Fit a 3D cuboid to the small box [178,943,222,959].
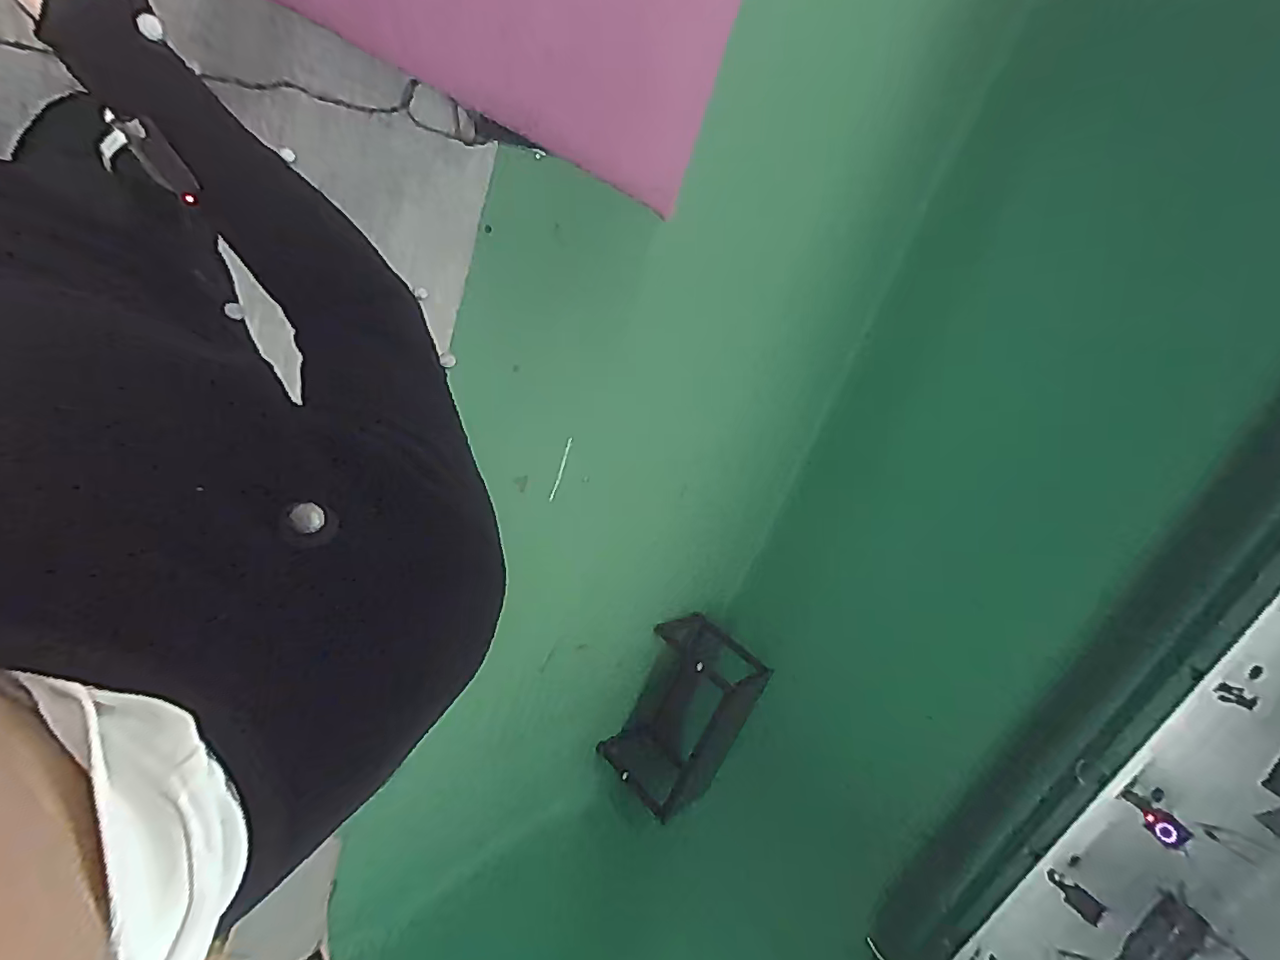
[{"bbox_3d":[-1.153,1.335,1.357,0.168,0.176,0.179,2,116,-53],"label":"small box"}]
